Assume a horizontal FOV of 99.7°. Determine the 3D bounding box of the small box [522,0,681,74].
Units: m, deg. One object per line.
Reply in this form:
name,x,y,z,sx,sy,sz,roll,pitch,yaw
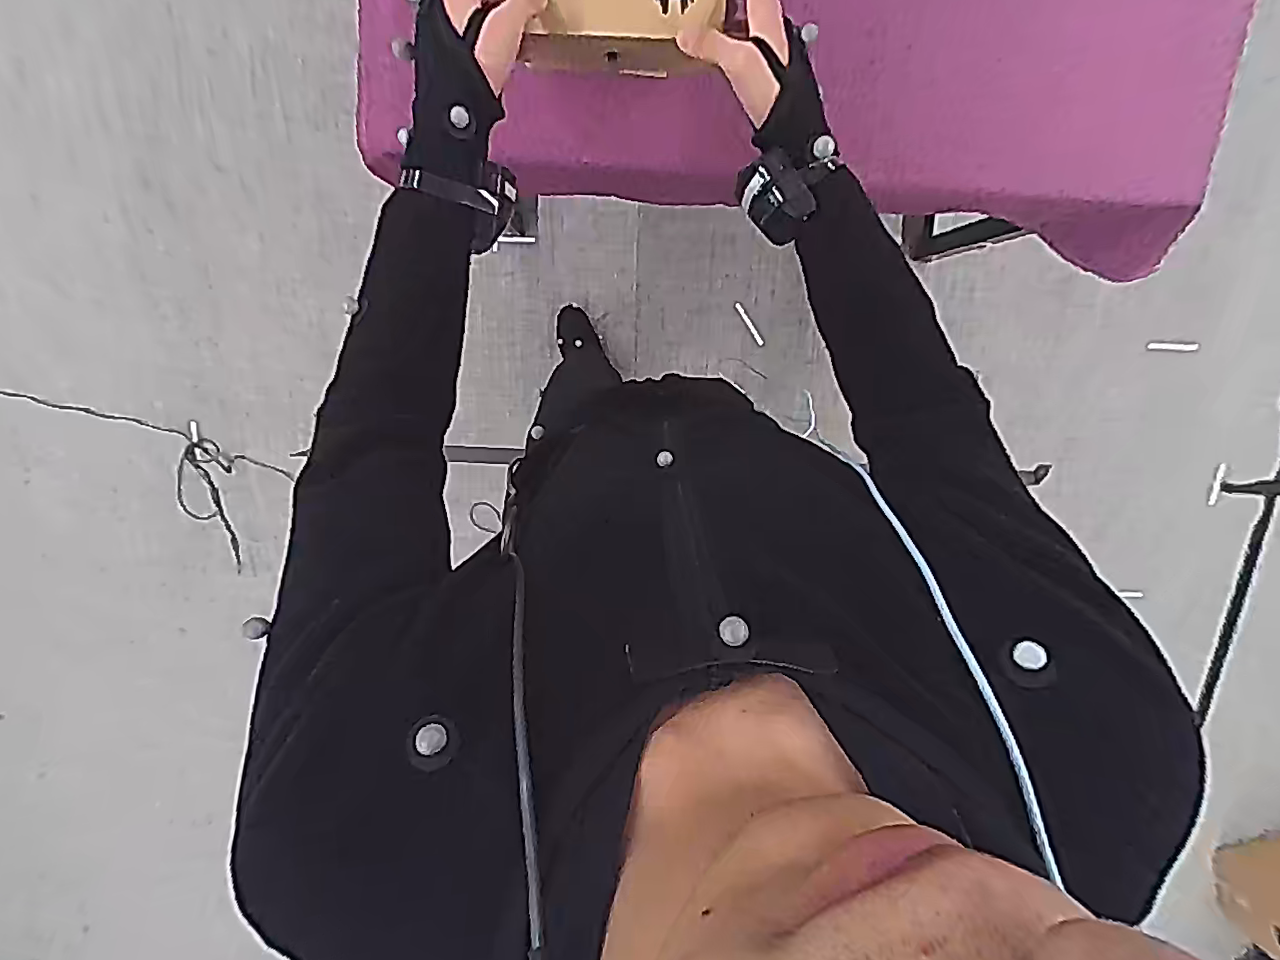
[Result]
small box,-0.042,-0.617,0.641,0.179,0.176,0.168,3,104,-4
